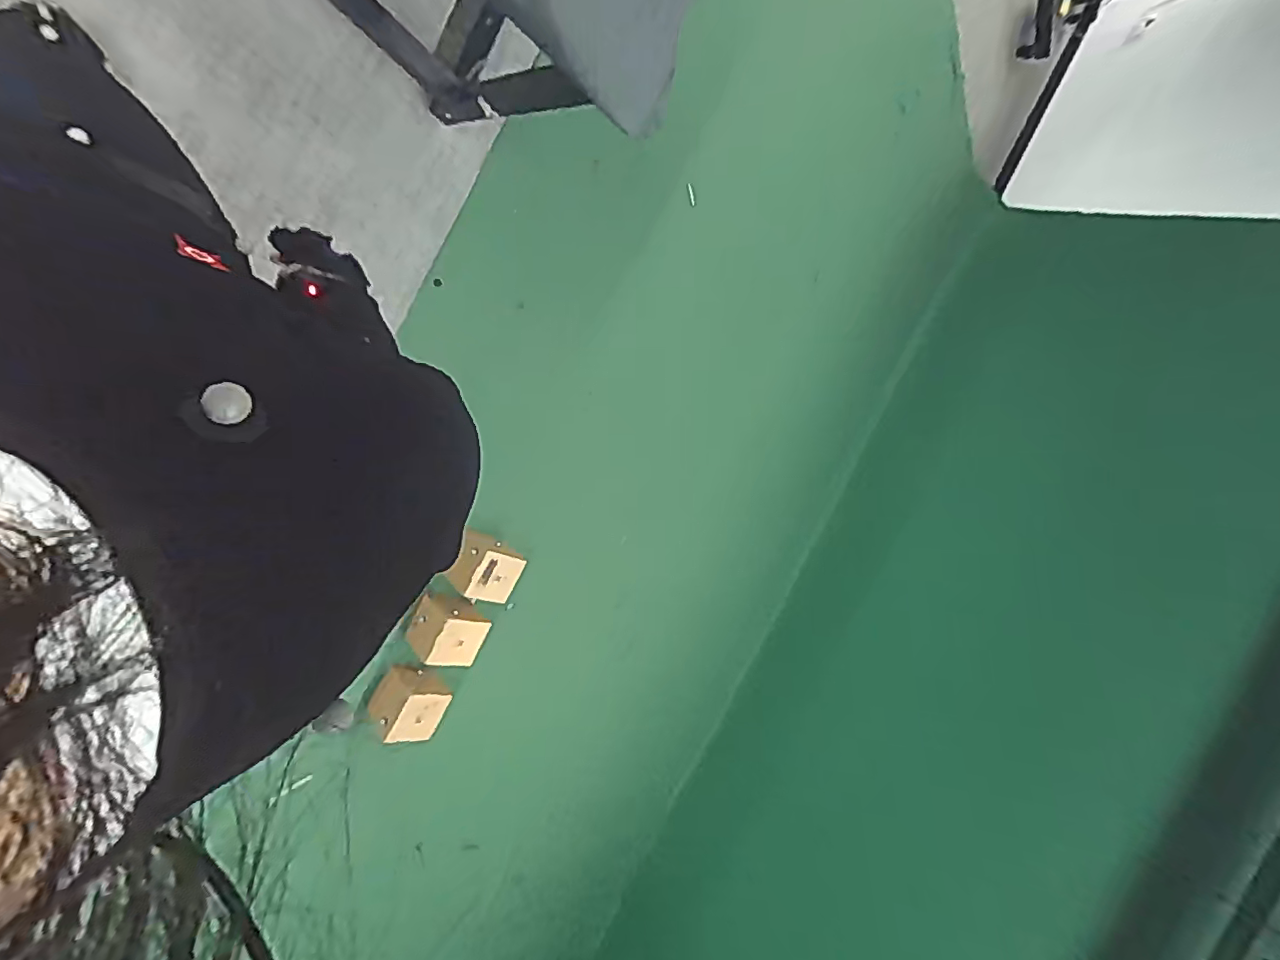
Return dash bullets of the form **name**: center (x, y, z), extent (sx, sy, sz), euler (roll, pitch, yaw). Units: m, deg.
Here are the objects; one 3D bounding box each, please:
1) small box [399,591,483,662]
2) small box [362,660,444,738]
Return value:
- **small box**: center (-0.669, 0.490, 1.812), extent (0.179, 0.176, 0.168), euler (26, 93, -50)
- **small box**: center (-0.800, 0.732, 1.810), extent (0.168, 0.176, 0.179), euler (30, 90, -51)
